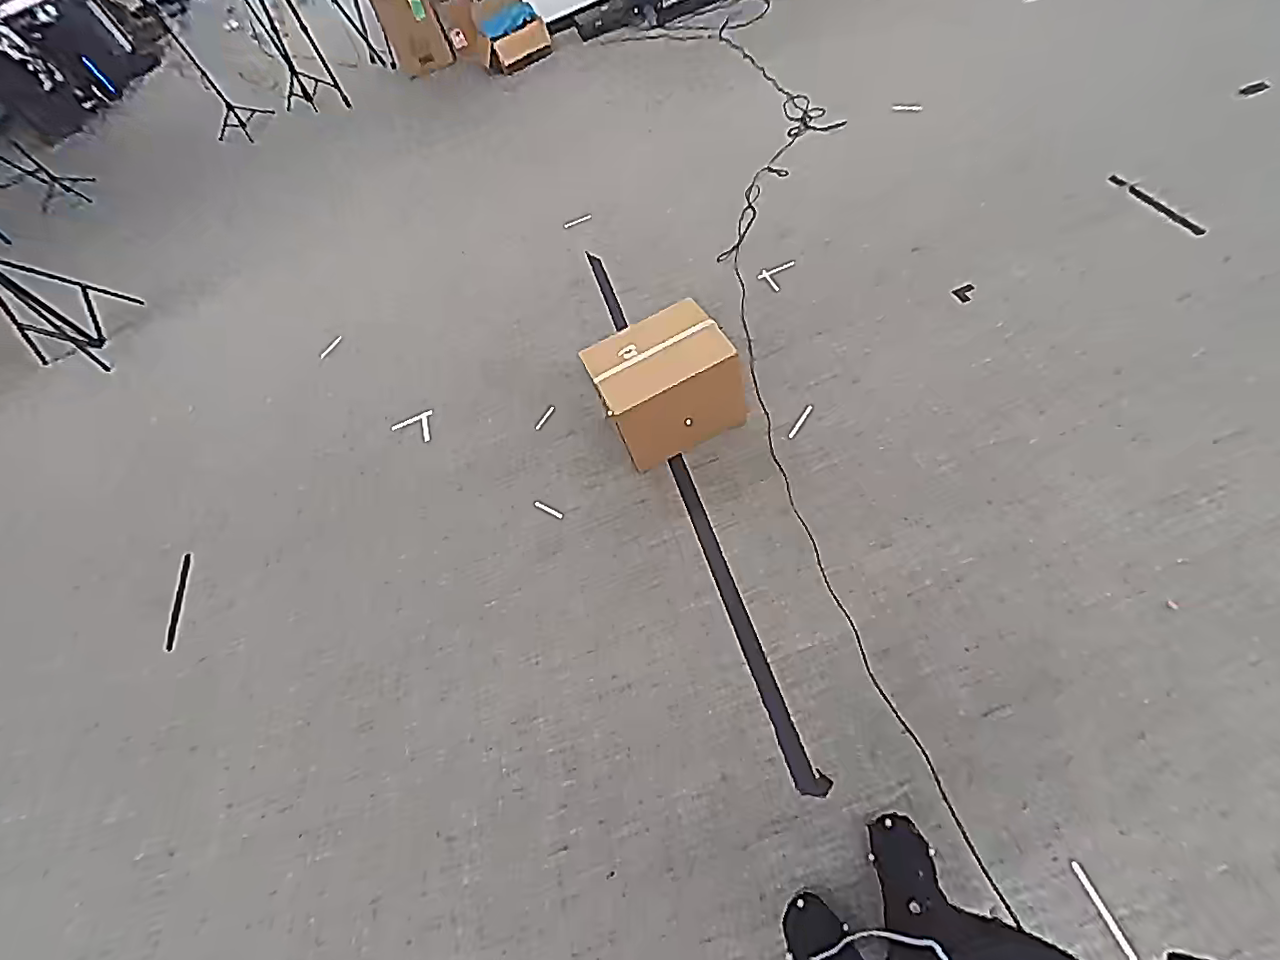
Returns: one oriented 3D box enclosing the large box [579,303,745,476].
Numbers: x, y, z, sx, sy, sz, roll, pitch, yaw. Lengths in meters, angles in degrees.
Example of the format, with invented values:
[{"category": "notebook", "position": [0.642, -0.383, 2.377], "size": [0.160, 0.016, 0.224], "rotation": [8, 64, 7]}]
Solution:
[{"category": "large box", "position": [0.080, -0.285, 1.739], "size": [0.408, 0.320, 0.320], "rotation": [-28, 53, -1]}]
